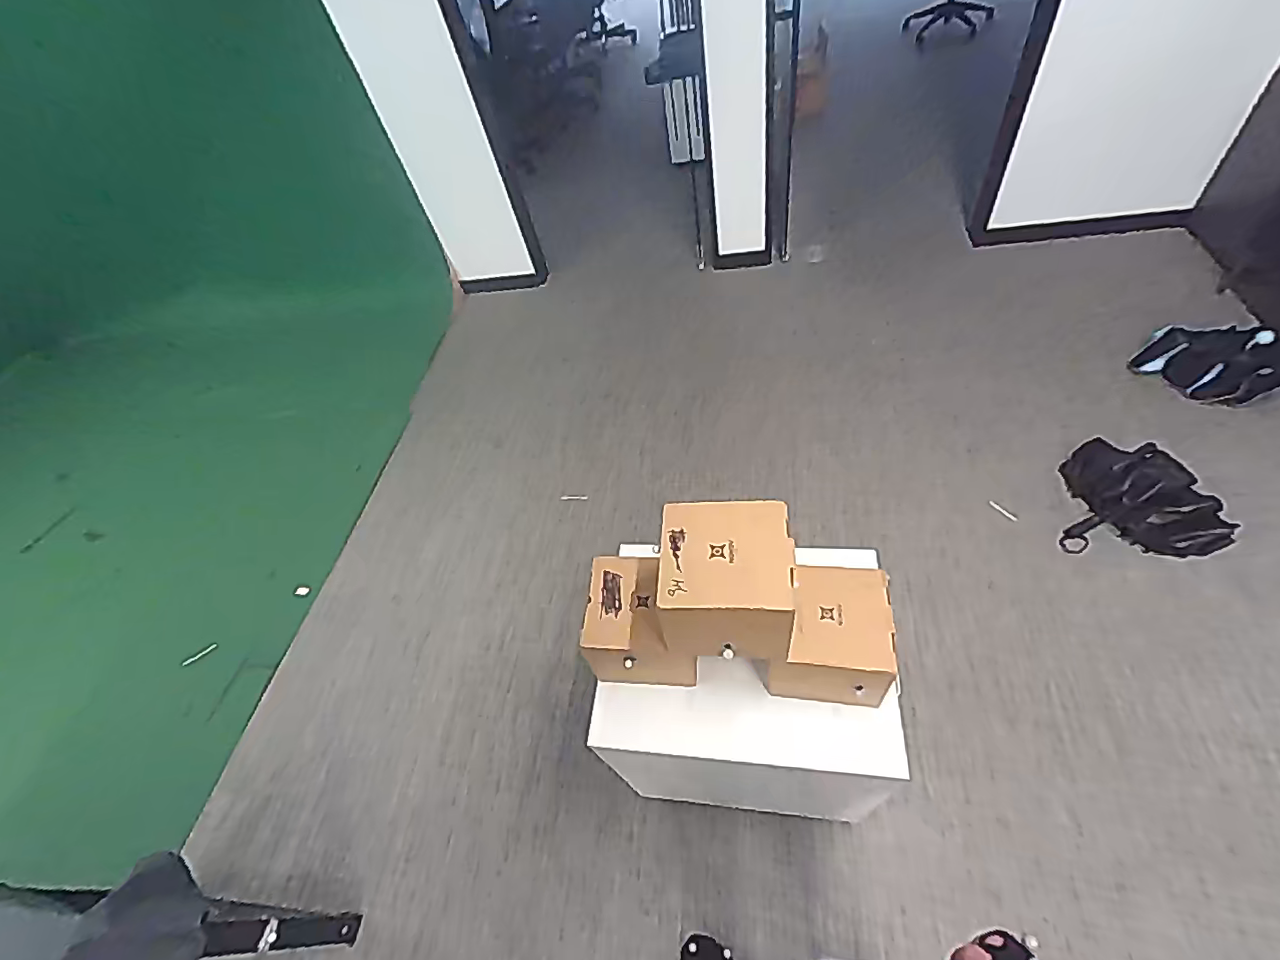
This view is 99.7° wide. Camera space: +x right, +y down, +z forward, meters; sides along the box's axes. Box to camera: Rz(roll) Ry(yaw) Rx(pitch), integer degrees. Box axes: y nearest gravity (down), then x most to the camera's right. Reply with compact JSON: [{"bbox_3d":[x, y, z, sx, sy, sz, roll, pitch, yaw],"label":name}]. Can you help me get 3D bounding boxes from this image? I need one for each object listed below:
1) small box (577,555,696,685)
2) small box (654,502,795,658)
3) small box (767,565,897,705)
[{"bbox_3d":[0.006,0.244,0.937,0.179,0.176,0.168,0,53,10],"label":"small box"},{"bbox_3d":[0.121,0.147,0.780,0.179,0.176,0.168,-1,52,10],"label":"small box"},{"bbox_3d":[0.297,0.252,0.871,0.179,0.176,0.168,0,51,15],"label":"small box"}]
